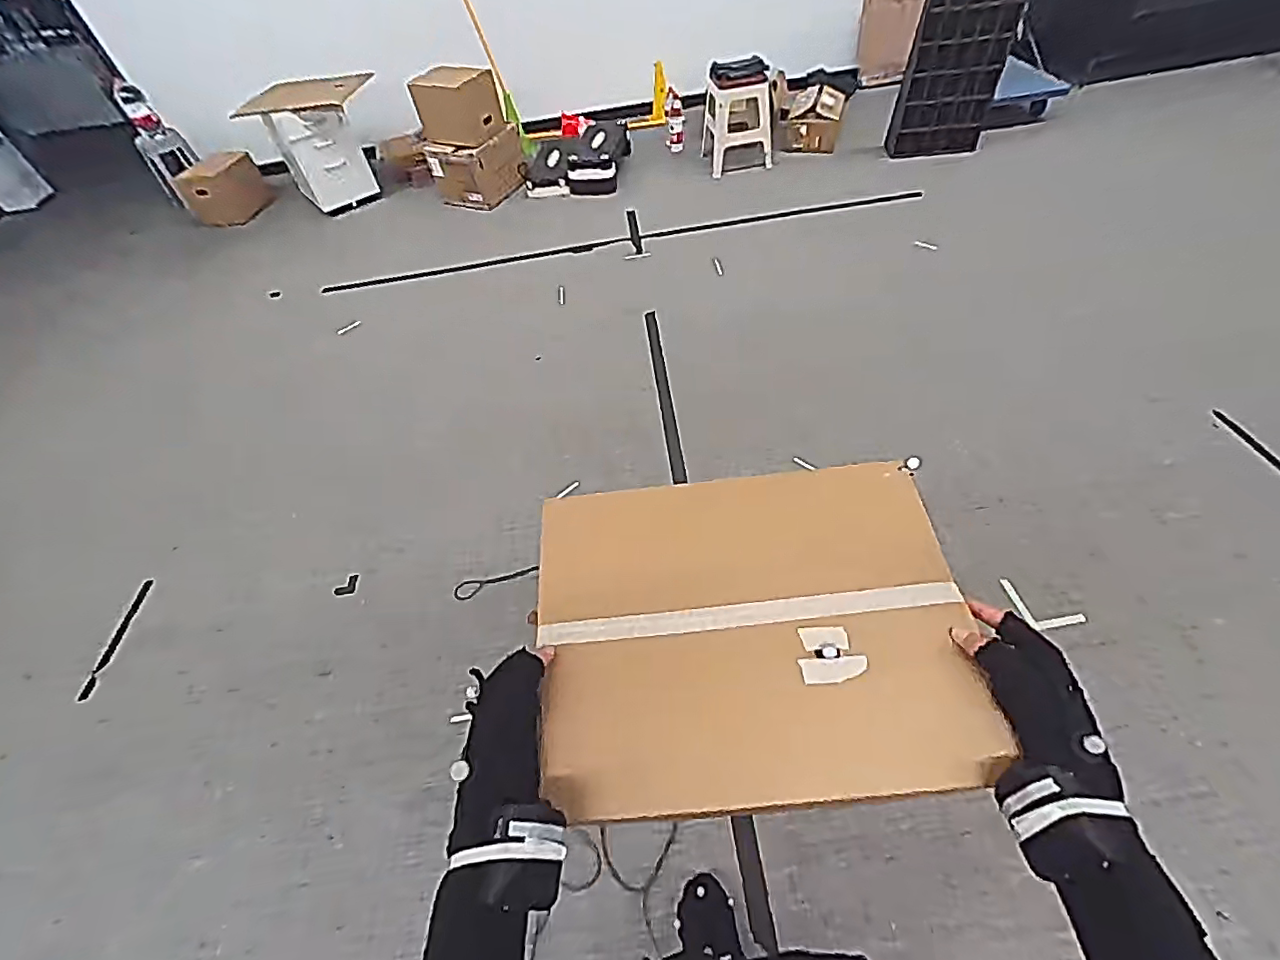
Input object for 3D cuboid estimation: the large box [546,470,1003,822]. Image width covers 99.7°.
[{"bbox_3d":[0.112,0.220,0.667,0.408,0.320,0.320,-6,58,2],"label":"large box"}]
